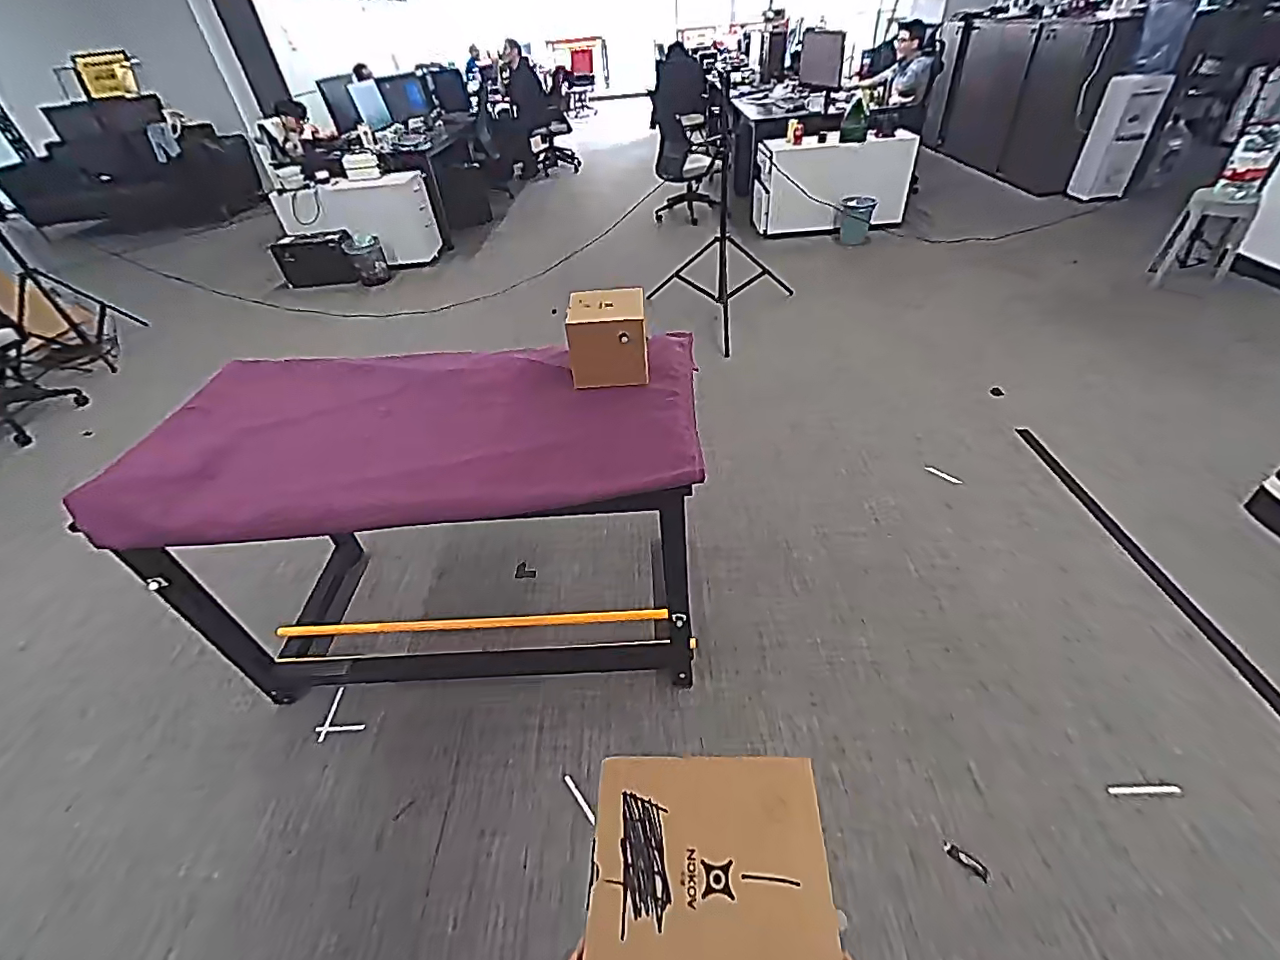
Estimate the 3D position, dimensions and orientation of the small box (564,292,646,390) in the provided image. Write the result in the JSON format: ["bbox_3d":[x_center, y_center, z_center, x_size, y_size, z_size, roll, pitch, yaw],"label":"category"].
[{"bbox_3d":[-0.075,-0.329,1.286,0.179,0.176,0.168,-4,41,2],"label":"small box"}]

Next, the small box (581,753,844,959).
[{"bbox_3d":[0.063,0.342,0.443,0.179,0.176,0.168,-5,43,9],"label":"small box"}]
